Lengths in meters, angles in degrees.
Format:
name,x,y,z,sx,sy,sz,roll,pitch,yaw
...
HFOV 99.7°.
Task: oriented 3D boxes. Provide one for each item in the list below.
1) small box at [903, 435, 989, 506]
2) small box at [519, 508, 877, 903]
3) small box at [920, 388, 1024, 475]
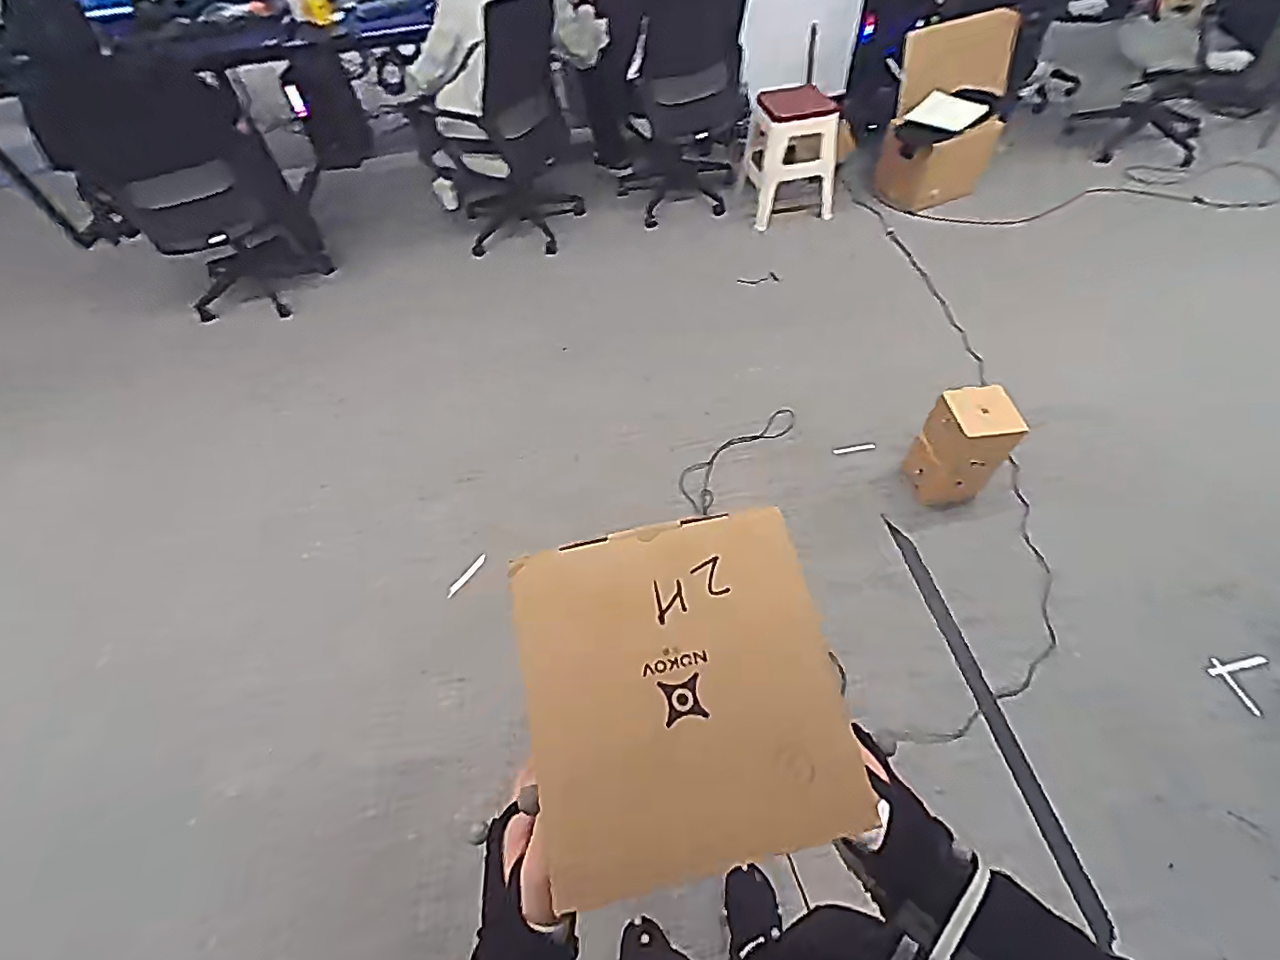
name,x,y,z,sx,sy,sz,roll,pitch,yaw
small box,0.943,-0.038,1.677,0.179,0.176,0.168,-11,54,-2
small box,0.023,0.139,0.368,0.168,0.176,0.179,-11,68,-6
small box,0.936,-0.137,1.547,0.168,0.176,0.179,-7,55,0
